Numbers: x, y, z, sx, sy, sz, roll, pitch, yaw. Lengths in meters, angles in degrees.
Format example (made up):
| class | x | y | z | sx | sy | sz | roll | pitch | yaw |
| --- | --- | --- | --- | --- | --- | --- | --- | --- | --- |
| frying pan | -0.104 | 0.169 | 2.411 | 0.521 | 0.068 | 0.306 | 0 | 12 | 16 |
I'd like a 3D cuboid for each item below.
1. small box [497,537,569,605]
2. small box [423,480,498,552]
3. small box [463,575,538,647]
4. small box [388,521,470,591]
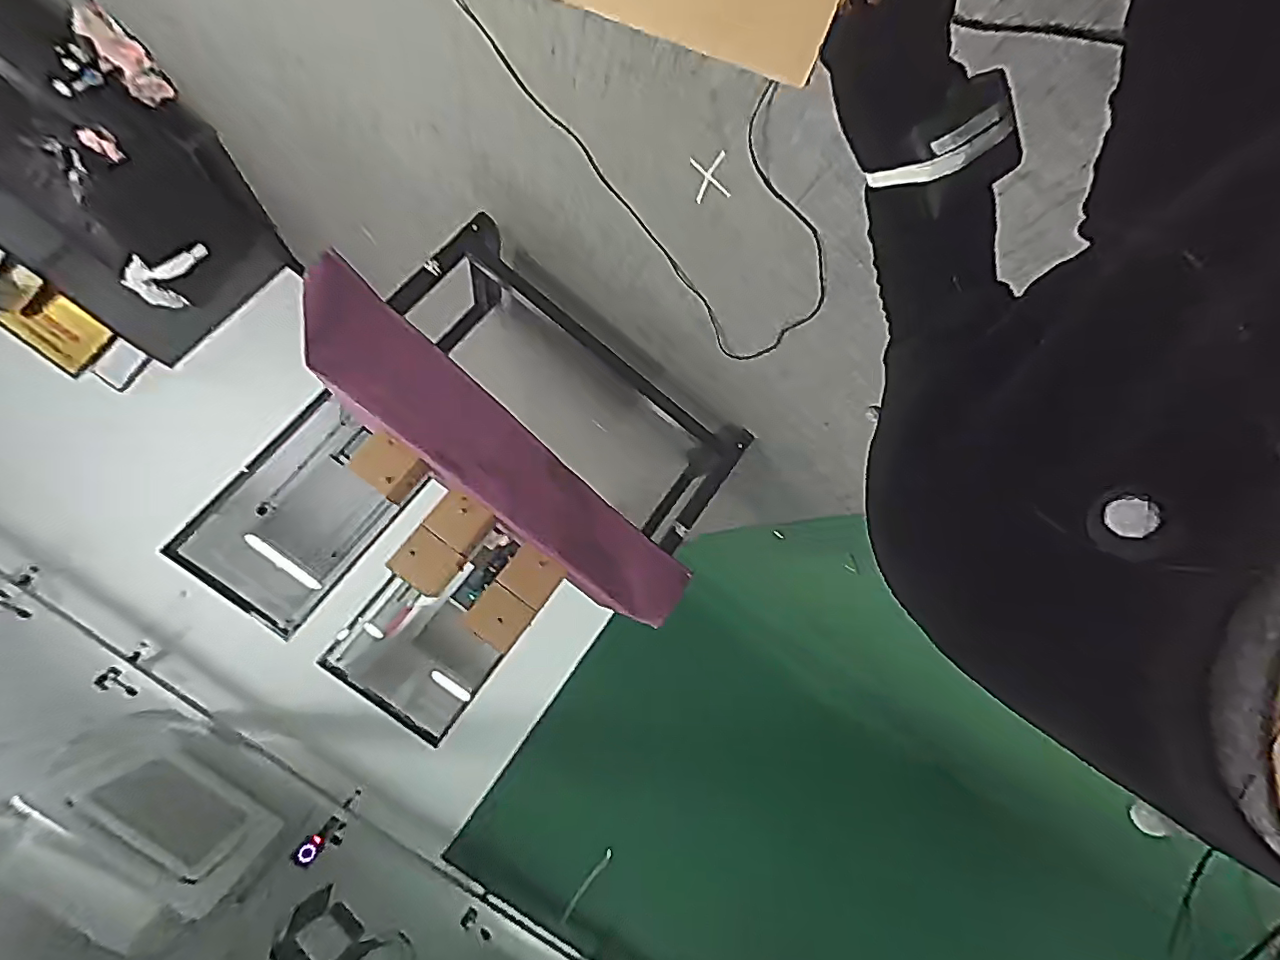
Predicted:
| class | x | y | z | sx | sy | sz | roll | pitch | yaw |
| --- | --- | --- | --- | --- | --- | --- | --- | --- | --- |
| small box | -0.372 | 0.310 | 1.873 | 0.179 | 0.176 | 0.168 | 38 | 165 | -3 |
| small box | -0.606 | 0.124 | 1.855 | 0.168 | 0.176 | 0.179 | 36 | 164 | 1 |
| small box | -0.469 | 0.435 | 1.830 | 0.179 | 0.176 | 0.168 | 37 | 164 | -4 |
| small box | -0.699 | 0.251 | 1.808 | 0.179 | 0.176 | 0.168 | 37 | 165 | 0 |
